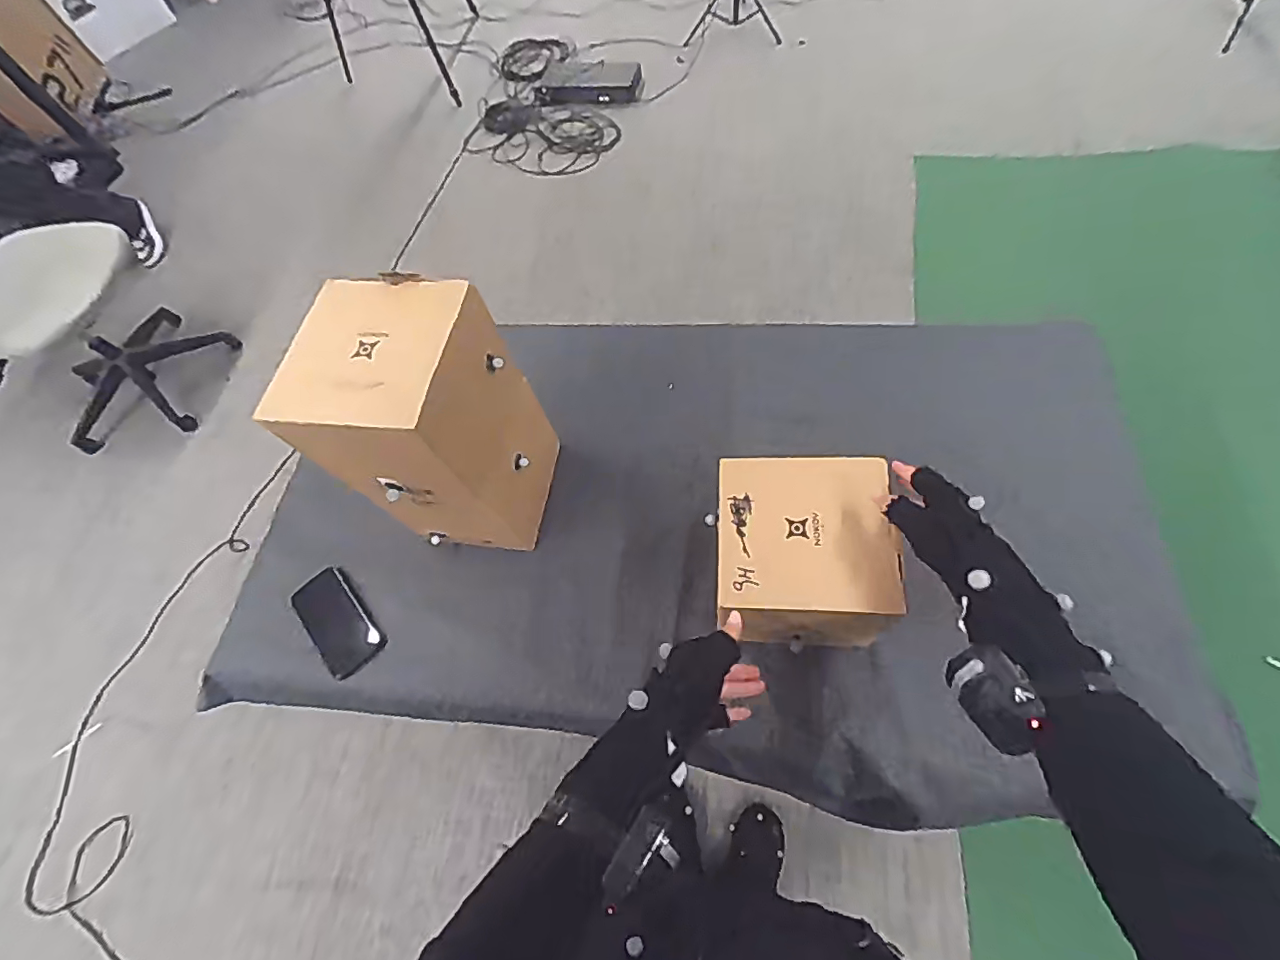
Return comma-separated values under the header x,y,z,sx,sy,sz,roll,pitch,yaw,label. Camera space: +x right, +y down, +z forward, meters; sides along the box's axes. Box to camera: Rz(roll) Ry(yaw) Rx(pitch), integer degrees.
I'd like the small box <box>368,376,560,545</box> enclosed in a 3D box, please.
x,y,z,sx,sy,sz,roll,pitch,yaw,label
-0.219,-0.024,0.730,0.168,0.176,0.179,5,63,11,small box

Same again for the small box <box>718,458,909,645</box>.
x,y,z,sx,sy,sz,roll,pitch,yaw,label
0.180,0.087,0.613,0.179,0.176,0.168,1,63,9,small box

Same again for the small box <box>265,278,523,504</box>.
x,y,z,sx,sy,sz,roll,pitch,yaw,label
-0.241,-0.091,0.584,0.168,0.176,0.179,4,65,11,small box
